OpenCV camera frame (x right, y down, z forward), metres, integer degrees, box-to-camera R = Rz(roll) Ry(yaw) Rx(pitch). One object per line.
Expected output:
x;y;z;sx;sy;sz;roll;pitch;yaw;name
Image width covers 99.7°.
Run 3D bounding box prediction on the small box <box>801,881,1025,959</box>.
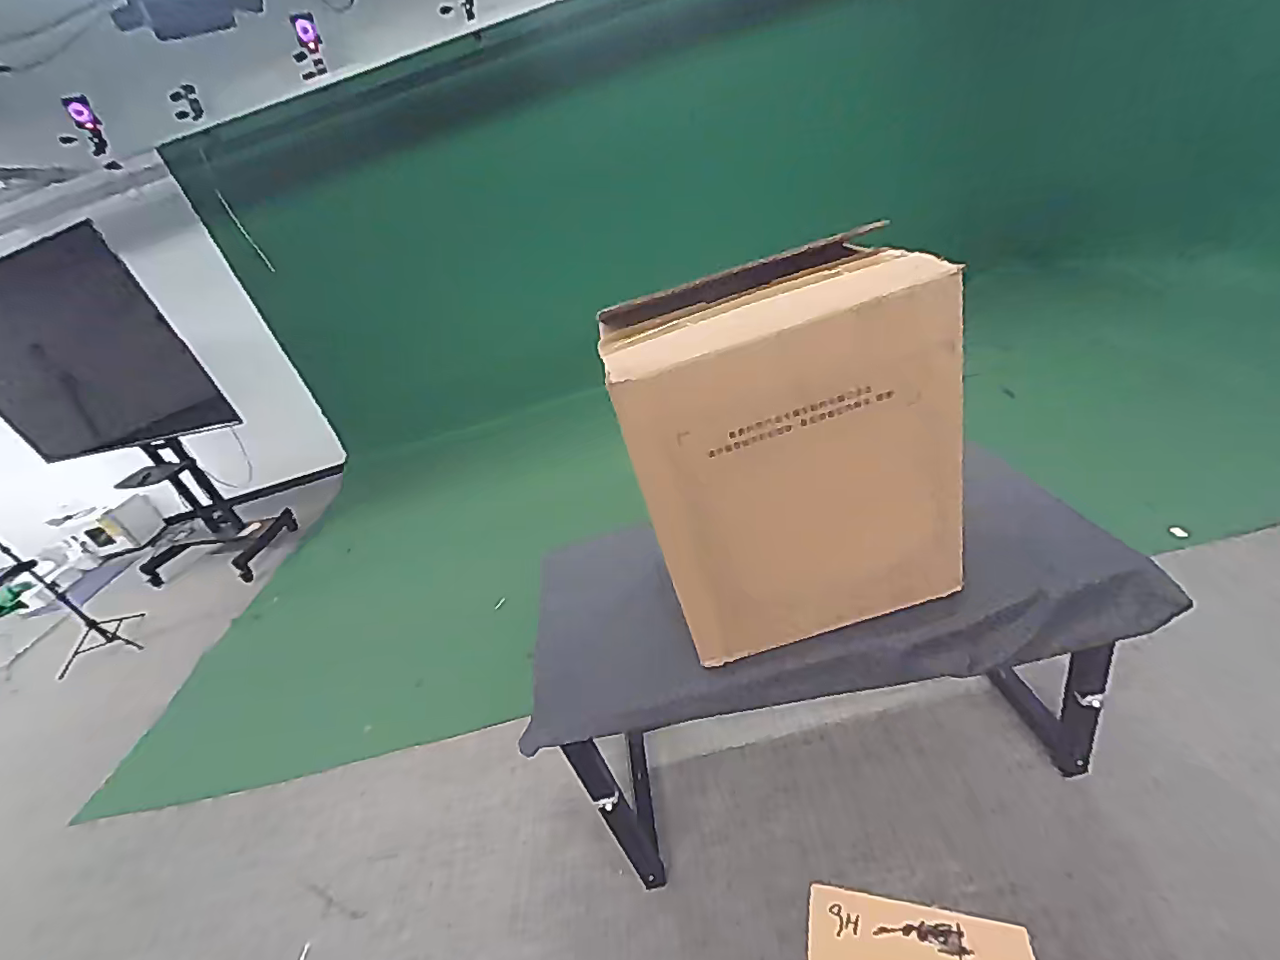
0.215;0.467;0.418;0.168;0.176;0.179;-3;24;20;small box
